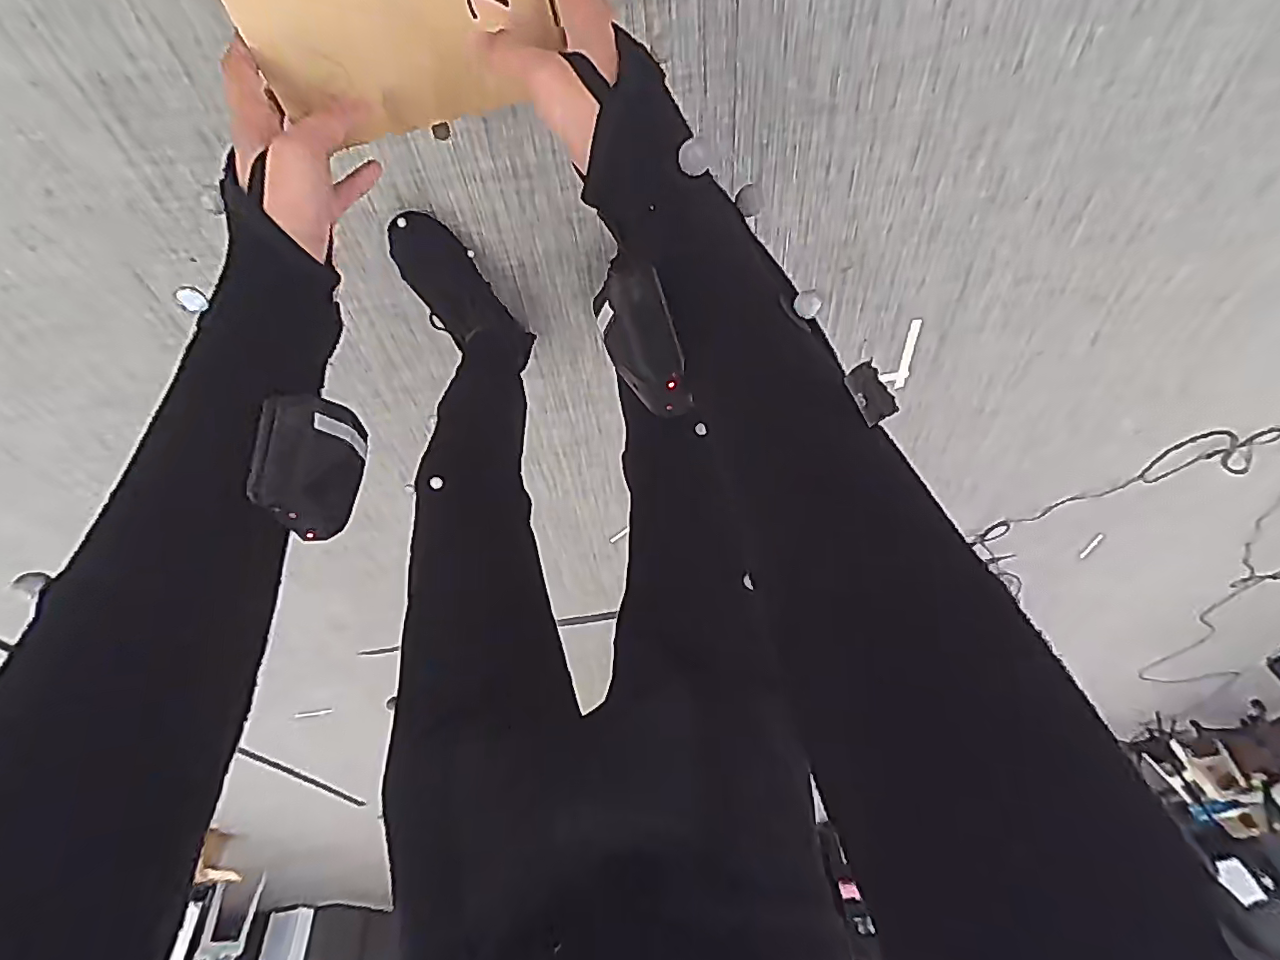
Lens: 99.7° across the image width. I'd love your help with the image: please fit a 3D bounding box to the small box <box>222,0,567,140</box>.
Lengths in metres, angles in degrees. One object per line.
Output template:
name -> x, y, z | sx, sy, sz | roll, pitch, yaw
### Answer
small box -> -0.148, -0.337, 0.328 | 0.179, 0.176, 0.168 | -12, 136, 4
